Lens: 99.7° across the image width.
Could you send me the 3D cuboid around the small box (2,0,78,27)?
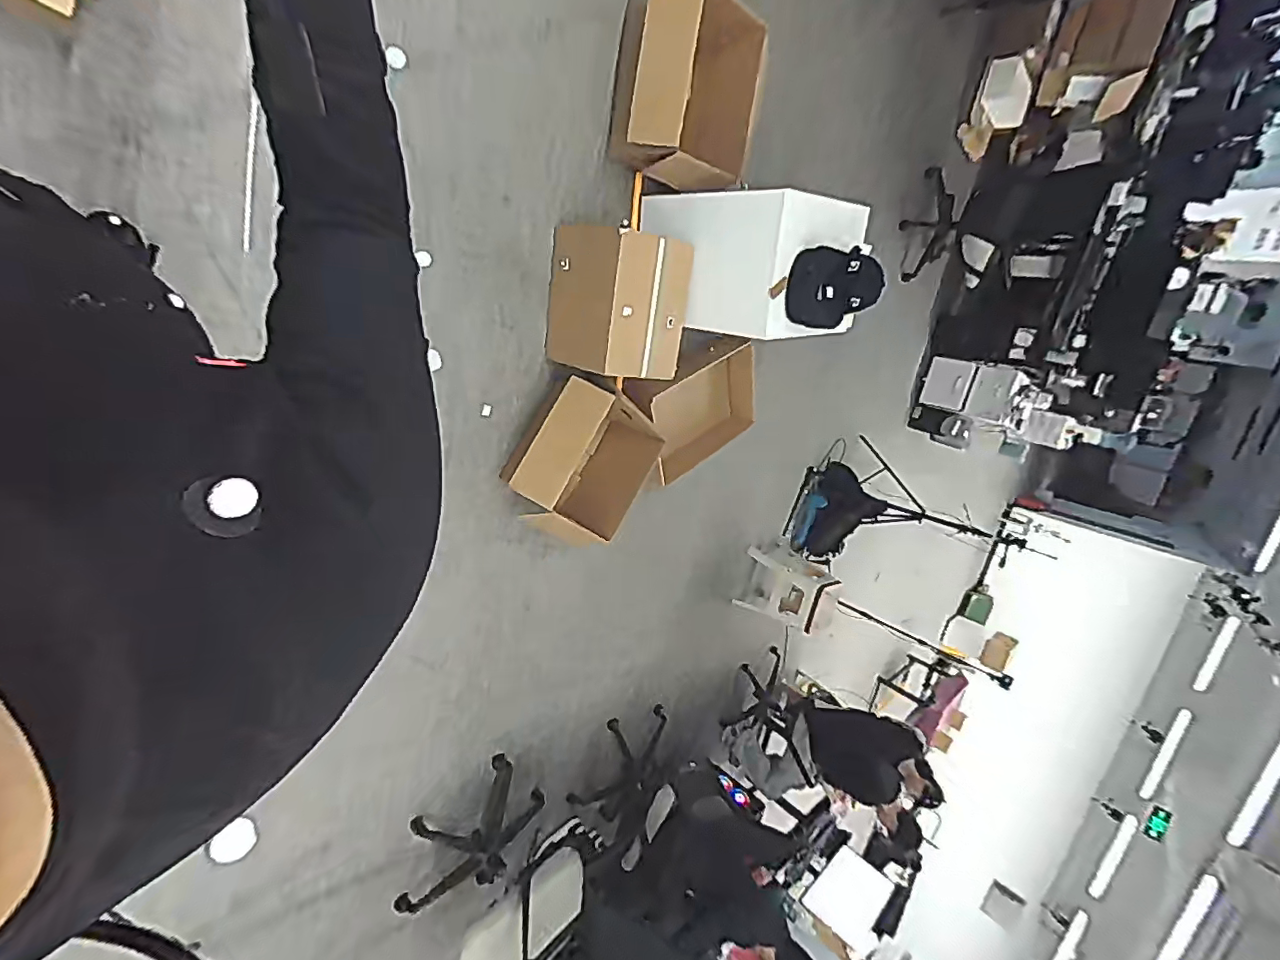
[{"bbox_3d":[-0.937,-0.811,0.785,0.179,0.176,0.168,9,102,-49],"label":"small box"}]
